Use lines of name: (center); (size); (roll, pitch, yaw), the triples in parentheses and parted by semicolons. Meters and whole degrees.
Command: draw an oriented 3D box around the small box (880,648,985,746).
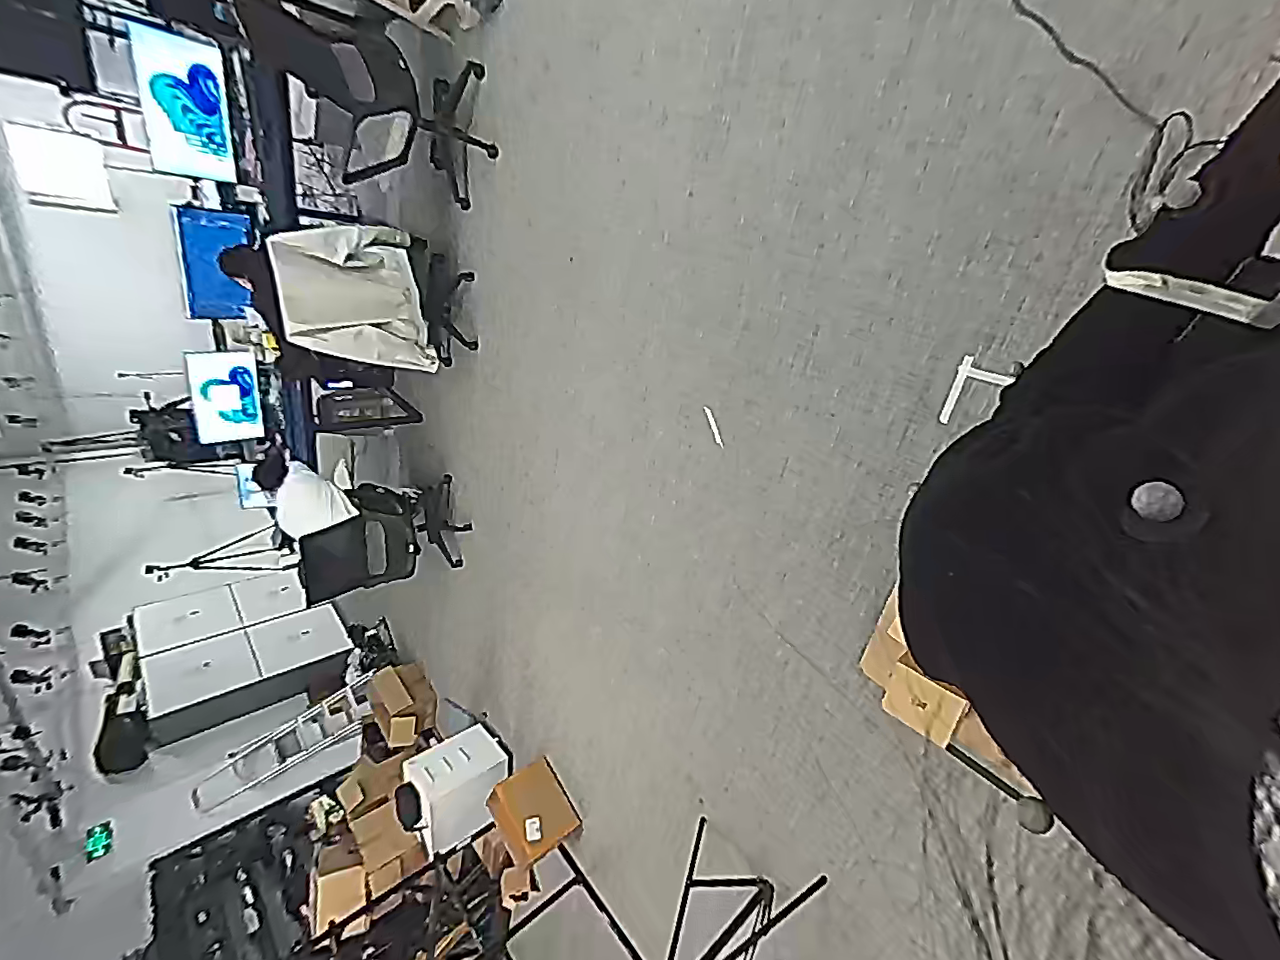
small box: (0.782, 0.558, 1.446); (0.179, 0.176, 0.168); (28, 121, 40)
